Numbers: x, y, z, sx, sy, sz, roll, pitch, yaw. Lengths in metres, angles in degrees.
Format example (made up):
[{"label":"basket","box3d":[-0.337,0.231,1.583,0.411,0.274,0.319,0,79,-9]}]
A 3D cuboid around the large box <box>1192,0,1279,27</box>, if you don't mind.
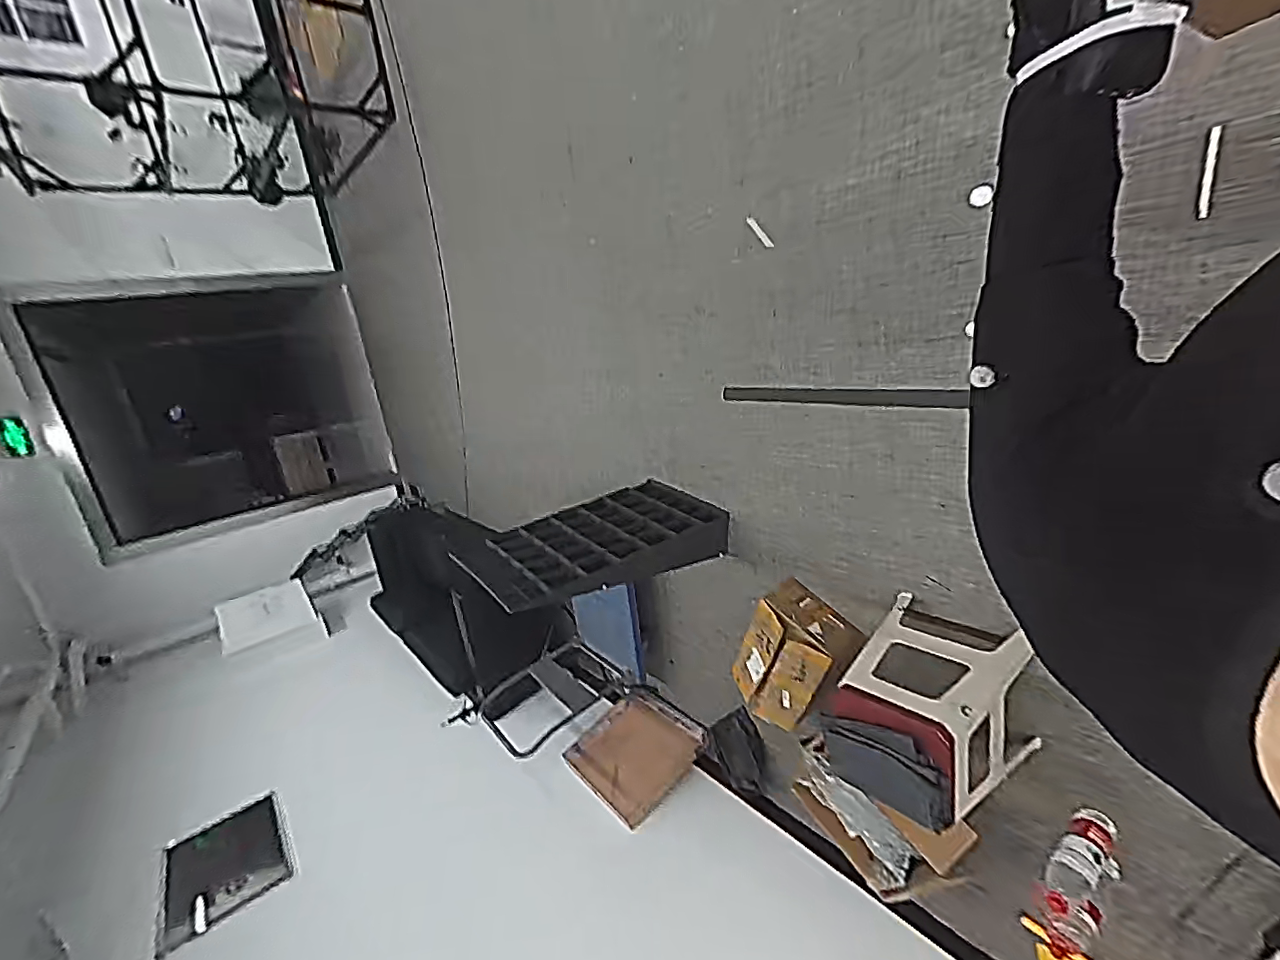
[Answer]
[{"label":"large box","box3d":[0.527,-0.524,0.251,0.408,0.320,0.320,3,112,53]}]
